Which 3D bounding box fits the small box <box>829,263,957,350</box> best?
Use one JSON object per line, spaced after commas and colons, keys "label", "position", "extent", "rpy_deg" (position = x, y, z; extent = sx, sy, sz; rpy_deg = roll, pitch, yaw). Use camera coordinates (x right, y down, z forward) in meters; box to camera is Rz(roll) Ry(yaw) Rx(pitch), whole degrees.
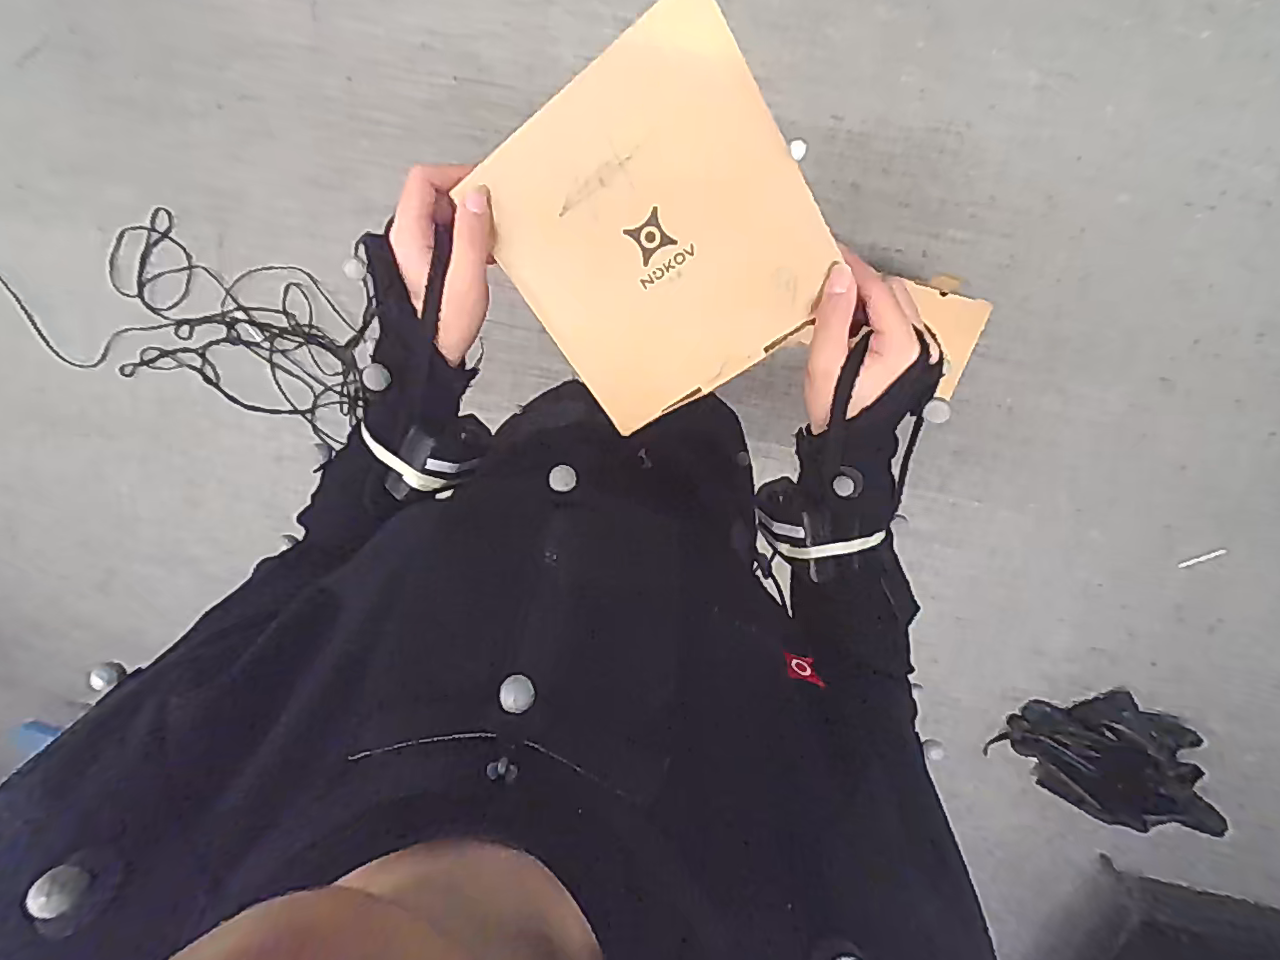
{"label": "small box", "position": [0.513, -0.338, 1.125], "extent": [0.168, 0.176, 0.179], "rpy_deg": [15, 111, 1]}

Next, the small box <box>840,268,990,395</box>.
{"label": "small box", "position": [0.480, -0.272, 0.979], "extent": [0.168, 0.176, 0.179], "rpy_deg": [15, 111, 1]}
